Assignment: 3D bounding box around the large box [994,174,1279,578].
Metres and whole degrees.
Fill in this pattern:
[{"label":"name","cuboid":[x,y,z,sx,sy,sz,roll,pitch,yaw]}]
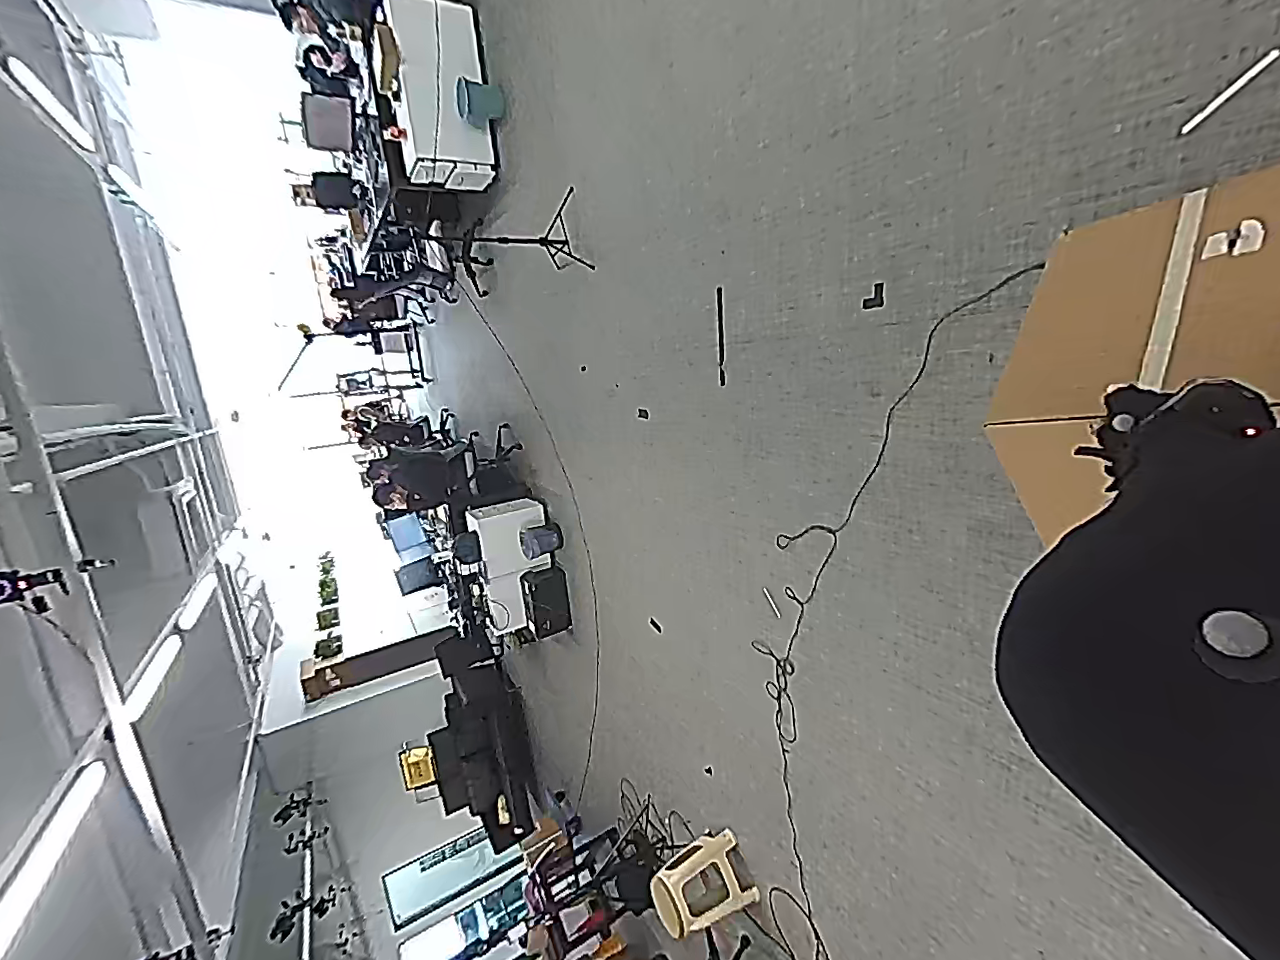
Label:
[{"label":"large box","cuboid":[0.739,-0.125,0.714,0.320,0.408,0.320,47,156,-27]}]
